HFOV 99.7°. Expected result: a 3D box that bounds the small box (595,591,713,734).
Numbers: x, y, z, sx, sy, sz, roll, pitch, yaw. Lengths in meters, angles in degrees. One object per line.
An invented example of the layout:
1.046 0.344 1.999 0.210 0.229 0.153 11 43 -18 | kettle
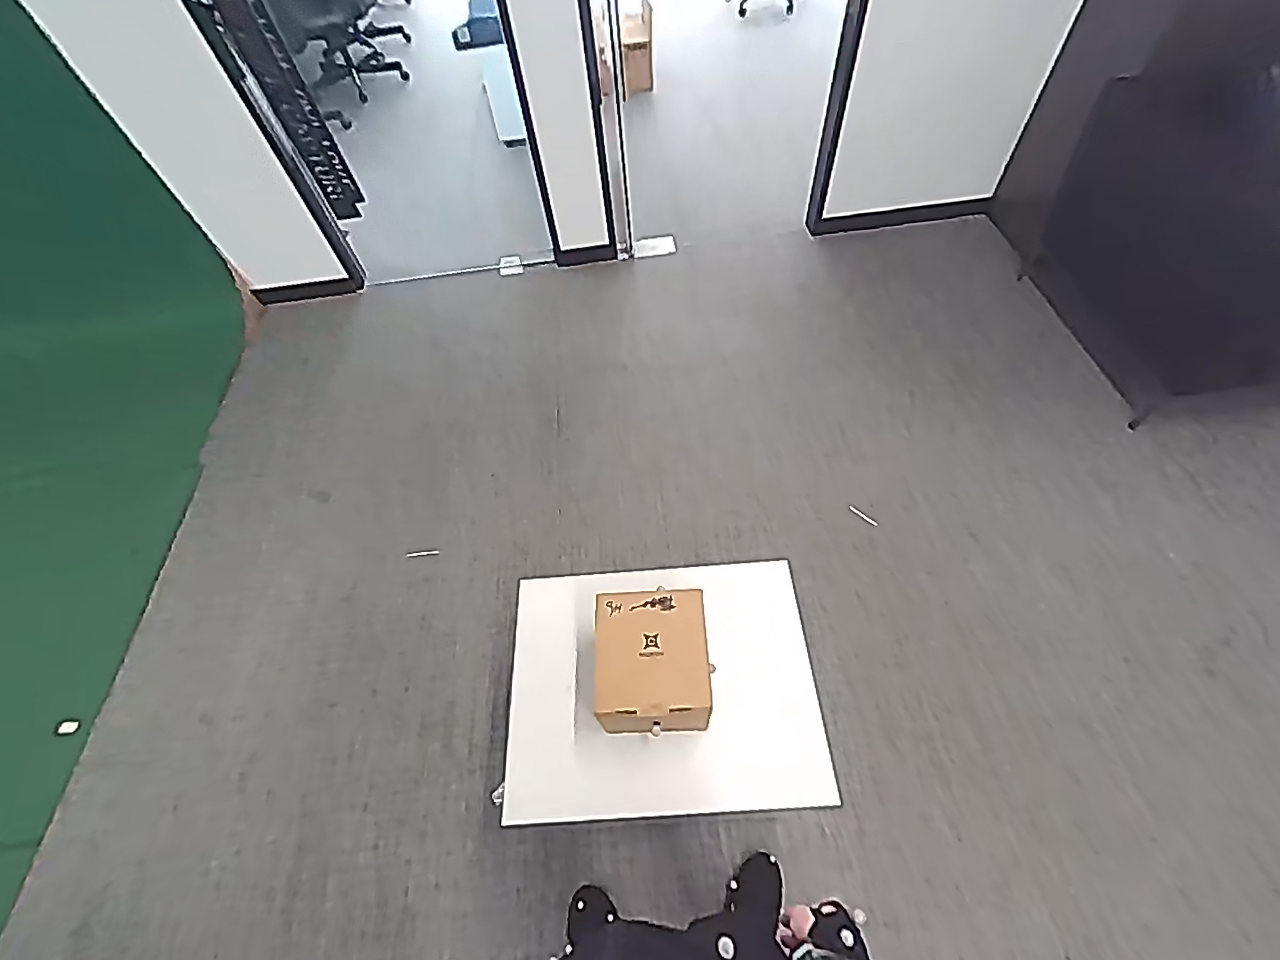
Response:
0.023 0.293 0.849 0.168 0.176 0.179 -5 55 1 | small box
